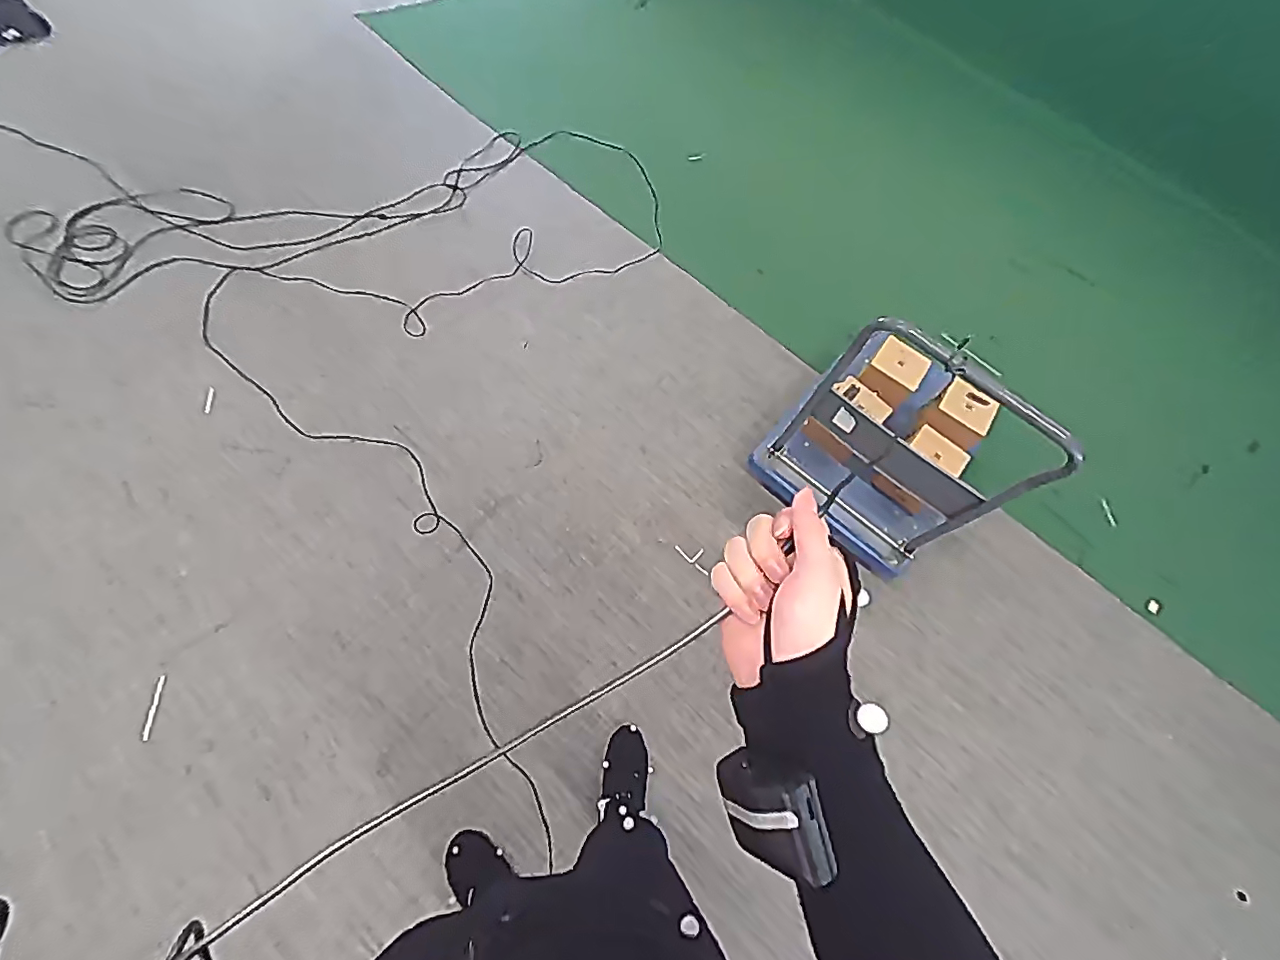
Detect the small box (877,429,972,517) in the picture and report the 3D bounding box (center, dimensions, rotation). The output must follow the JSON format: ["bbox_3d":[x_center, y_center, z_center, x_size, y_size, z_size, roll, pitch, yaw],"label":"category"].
[{"bbox_3d":[0.875,-0.017,1.678,0.168,0.176,0.179,41,63,12],"label":"small box"}]

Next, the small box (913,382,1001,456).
[{"bbox_3d":[1.048,-0.185,1.800,0.168,0.176,0.179,36,63,10],"label":"small box"}]

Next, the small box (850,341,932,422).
[{"bbox_3d":[0.847,-0.331,1.842,0.168,0.176,0.179,37,62,9],"label":"small box"}]
